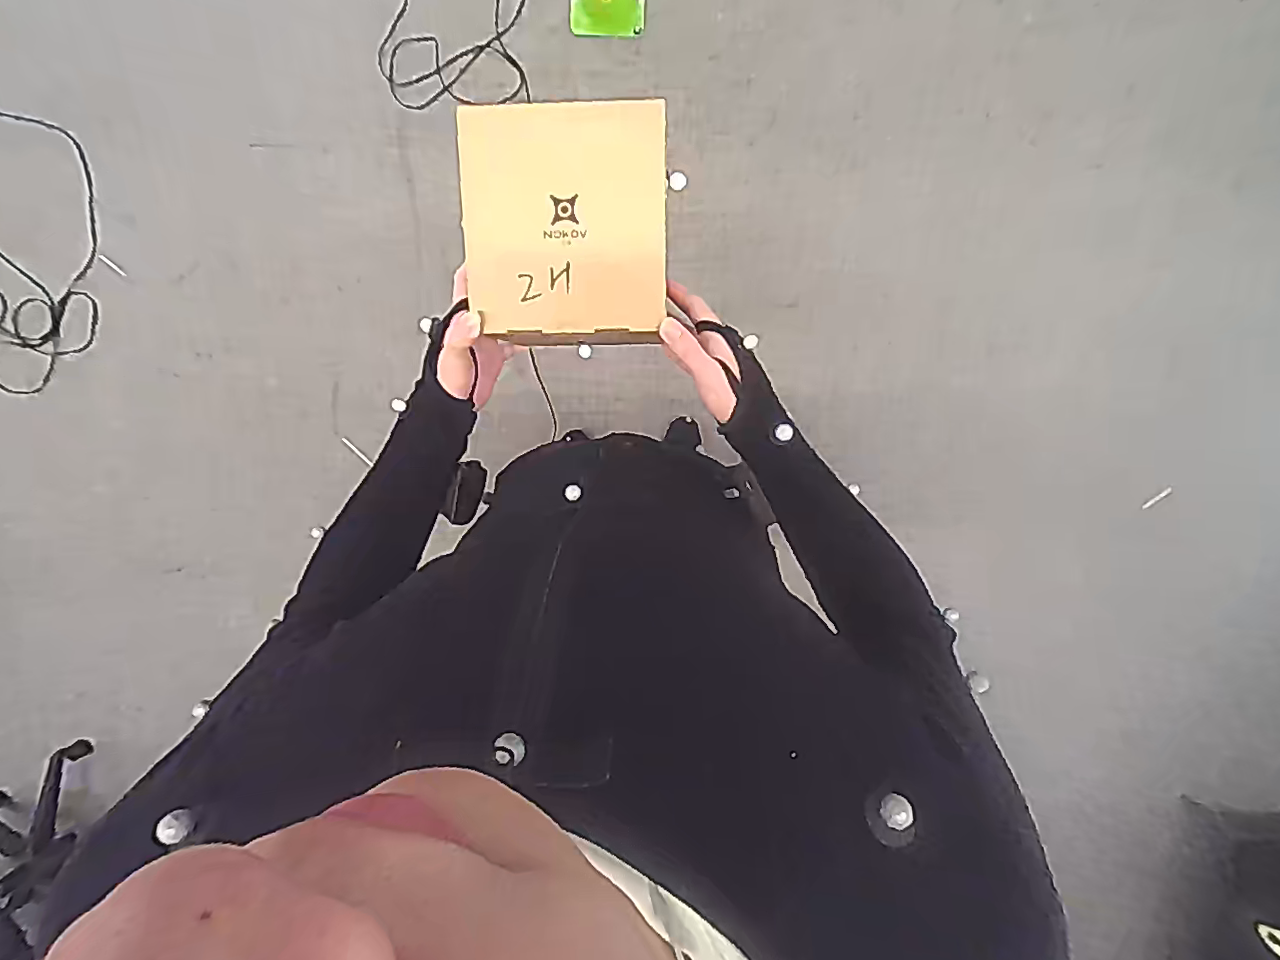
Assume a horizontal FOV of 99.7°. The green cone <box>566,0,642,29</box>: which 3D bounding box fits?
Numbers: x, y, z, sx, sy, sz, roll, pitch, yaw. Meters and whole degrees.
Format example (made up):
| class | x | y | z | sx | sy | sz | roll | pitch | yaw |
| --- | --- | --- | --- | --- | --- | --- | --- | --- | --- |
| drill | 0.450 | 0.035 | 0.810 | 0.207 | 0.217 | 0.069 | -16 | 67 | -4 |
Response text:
| class | x | y | z | sx | sy | sz | roll | pitch | yaw |
| --- | --- | --- | --- | --- | --- | --- | --- | --- | --- |
| green cone | -0.099 | -1.285 | 1.260 | 0.202 | 0.368 | 0.200 | 2 | 97 | 1 |
